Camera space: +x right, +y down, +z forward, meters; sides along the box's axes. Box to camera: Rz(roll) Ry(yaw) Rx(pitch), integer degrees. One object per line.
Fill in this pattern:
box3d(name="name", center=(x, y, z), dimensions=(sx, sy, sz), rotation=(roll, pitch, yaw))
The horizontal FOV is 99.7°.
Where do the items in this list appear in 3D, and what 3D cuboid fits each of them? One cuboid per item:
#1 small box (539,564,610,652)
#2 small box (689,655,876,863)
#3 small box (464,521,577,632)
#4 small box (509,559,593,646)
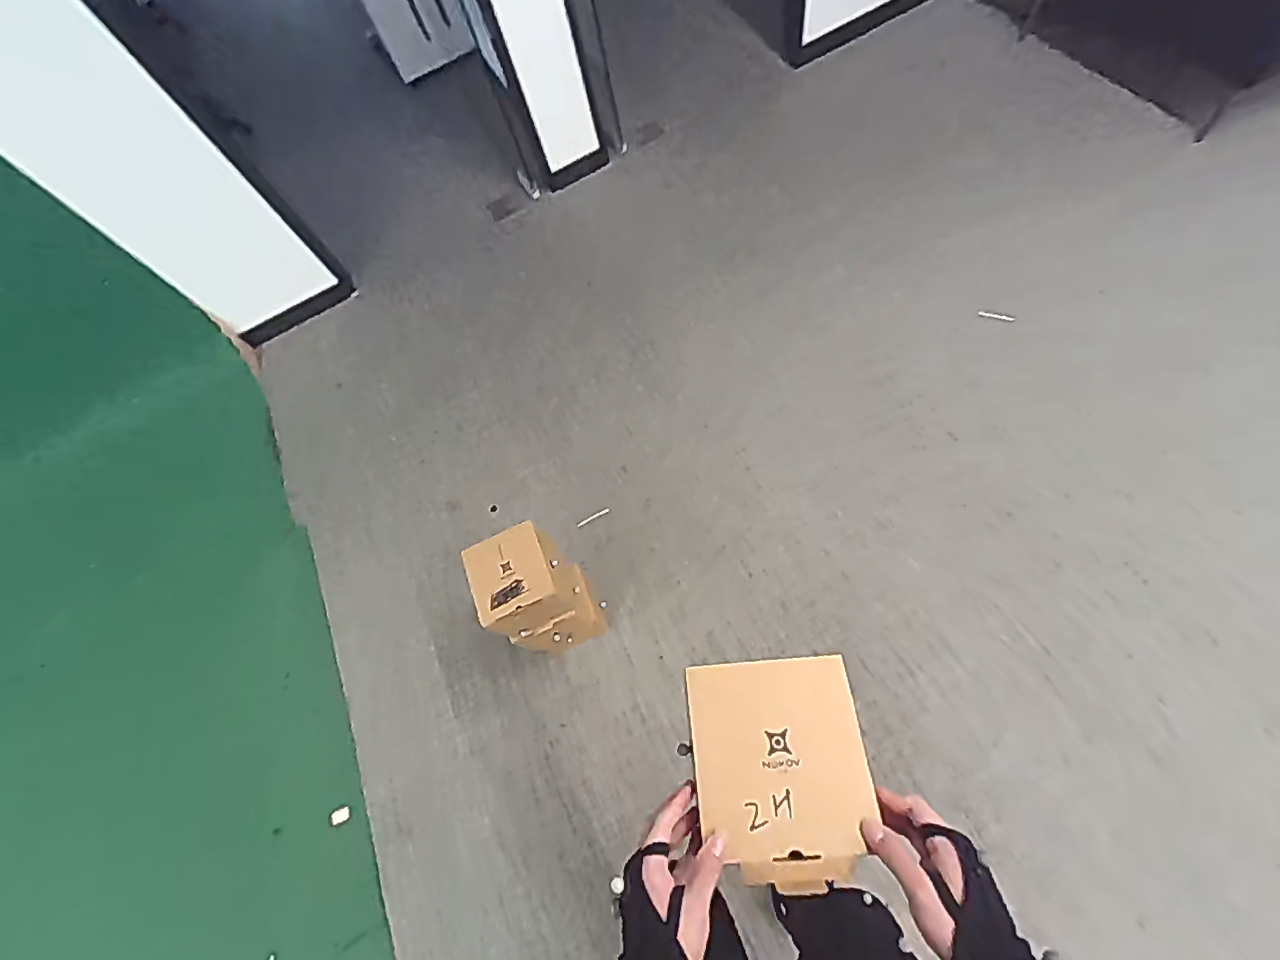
box3d(name="small box", center=(-0.200, 0.354, 1.472), dimensions=(0.179, 0.176, 0.168), rotation=(-23, 65, 0))
box3d(name="small box", center=(0.138, 0.298, 0.590), dimensions=(0.168, 0.176, 0.179), rotation=(-2, 62, 7))
box3d(name="small box", center=(-0.254, 0.219, 1.179), dimensions=(0.168, 0.176, 0.179), rotation=(-25, 64, 0))
box3d(name="small box", center=(-0.231, 0.295, 1.323), dimensions=(0.168, 0.176, 0.179), rotation=(-24, 66, 0))
